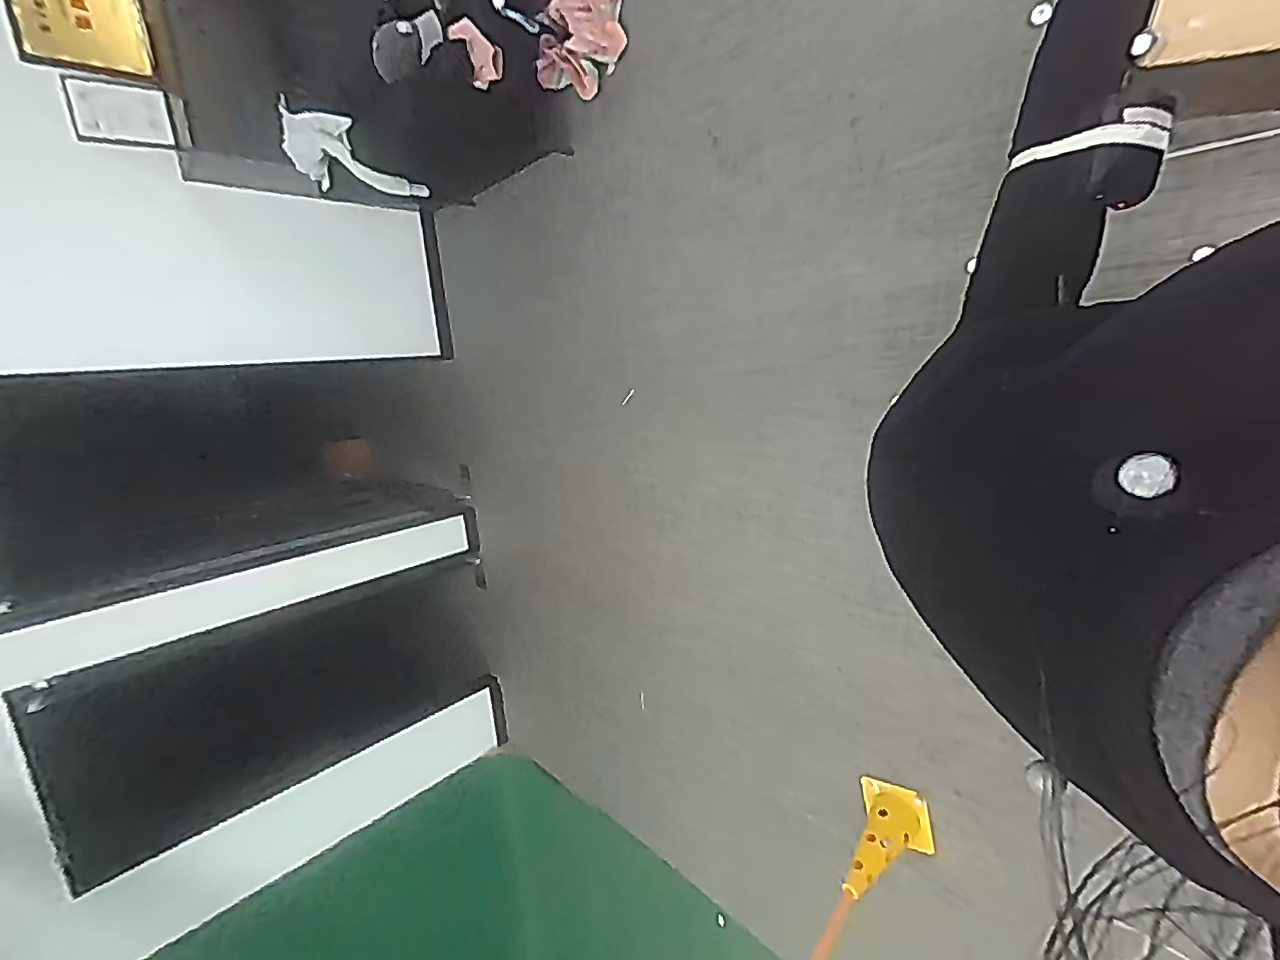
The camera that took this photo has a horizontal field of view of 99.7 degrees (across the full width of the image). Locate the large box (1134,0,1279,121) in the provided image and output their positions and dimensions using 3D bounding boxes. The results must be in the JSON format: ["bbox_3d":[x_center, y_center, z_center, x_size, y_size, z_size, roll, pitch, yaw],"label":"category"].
[{"bbox_3d":[0.599,-0.433,0.313,0.408,0.320,0.320,17,120,36],"label":"large box"}]
